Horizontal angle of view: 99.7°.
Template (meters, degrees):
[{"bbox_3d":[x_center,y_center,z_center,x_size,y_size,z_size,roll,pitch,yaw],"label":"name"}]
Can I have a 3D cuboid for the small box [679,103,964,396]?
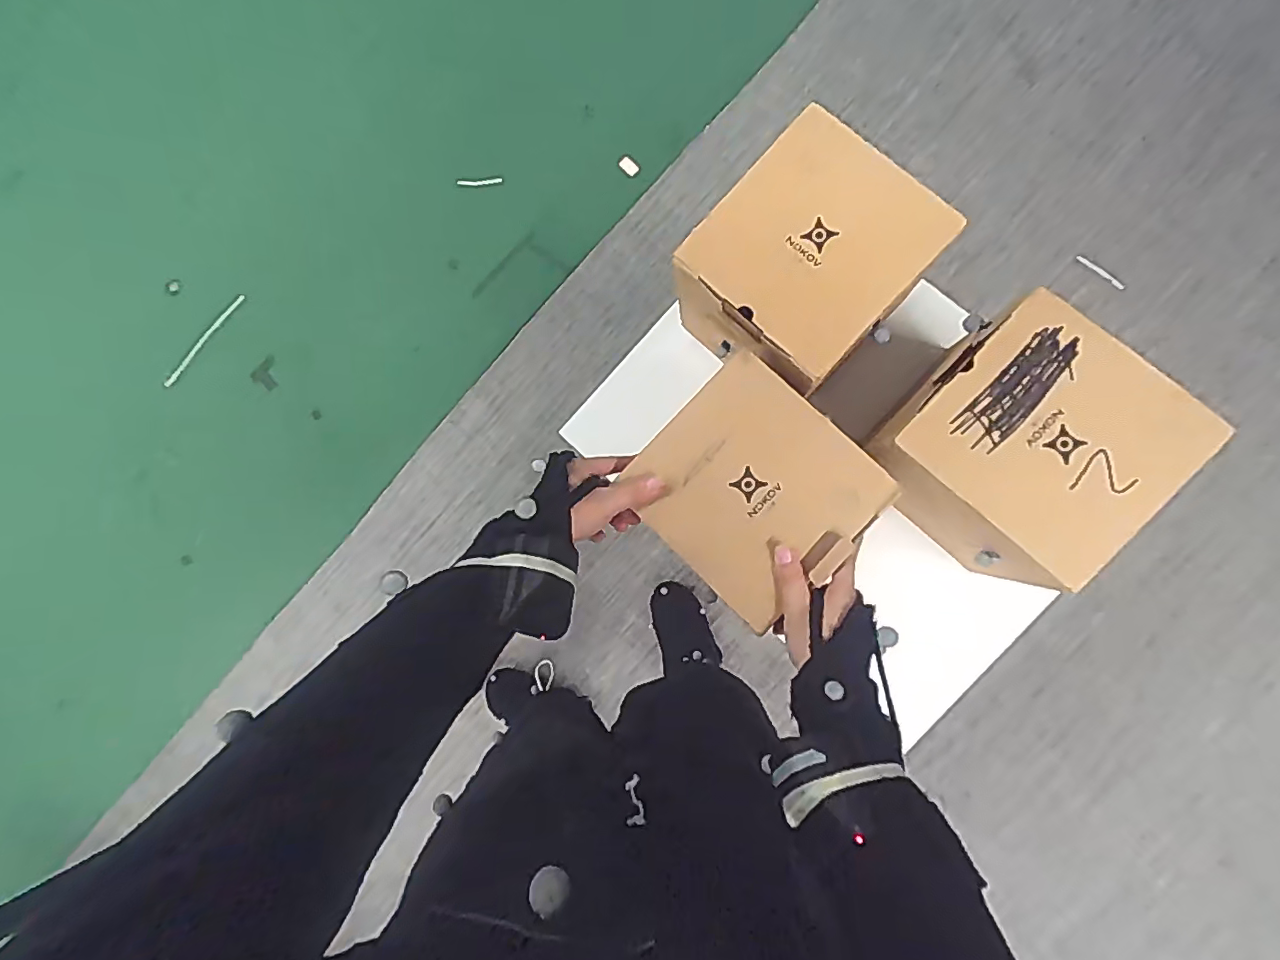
[{"bbox_3d":[0.155,-0.196,0.525,0.168,0.176,0.179,43,93,7],"label":"small box"}]

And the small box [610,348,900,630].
[{"bbox_3d":[0.100,0.011,0.518,0.179,0.176,0.168,44,90,10],"label":"small box"}]
